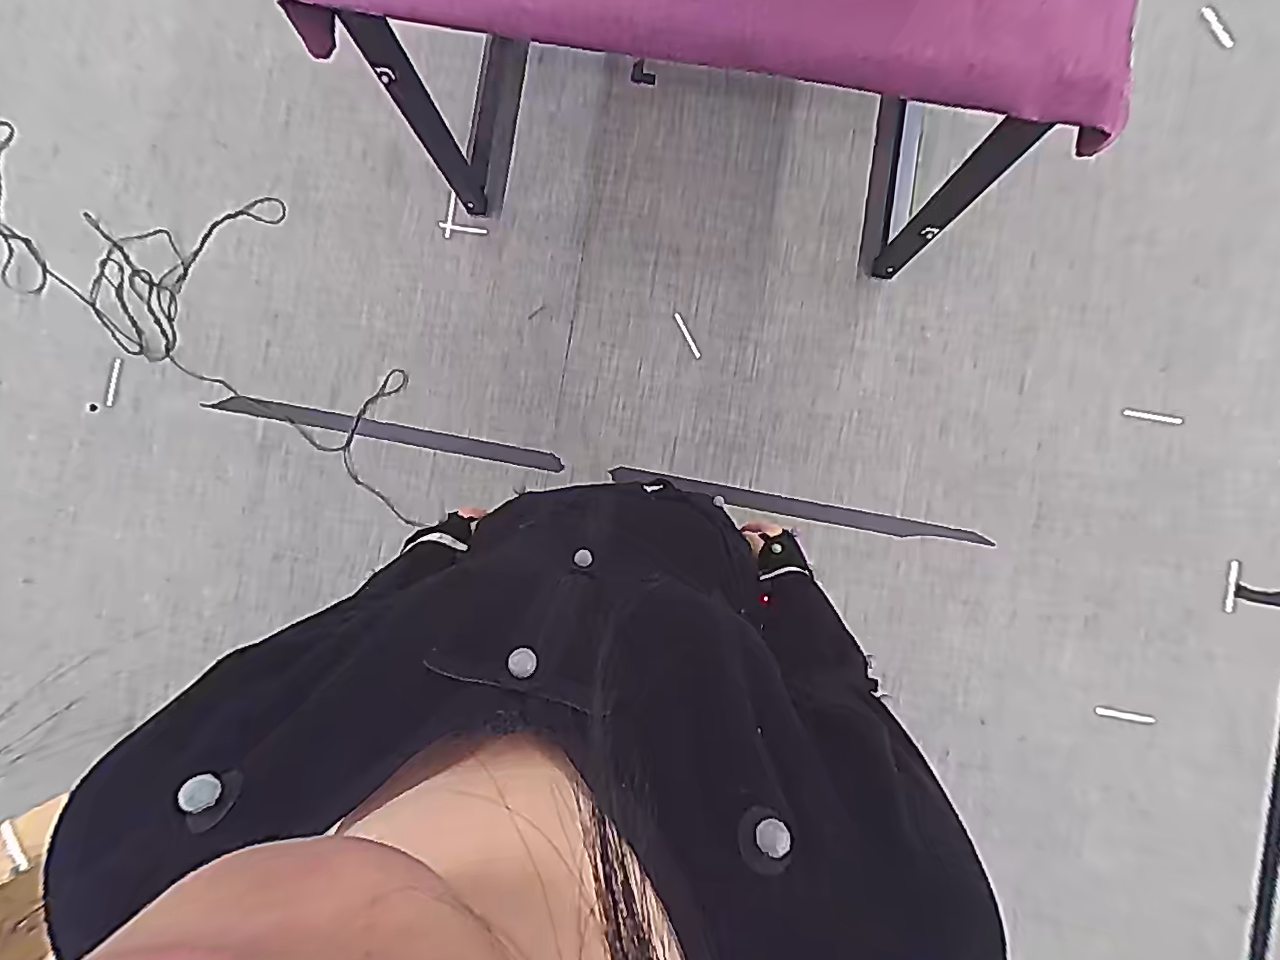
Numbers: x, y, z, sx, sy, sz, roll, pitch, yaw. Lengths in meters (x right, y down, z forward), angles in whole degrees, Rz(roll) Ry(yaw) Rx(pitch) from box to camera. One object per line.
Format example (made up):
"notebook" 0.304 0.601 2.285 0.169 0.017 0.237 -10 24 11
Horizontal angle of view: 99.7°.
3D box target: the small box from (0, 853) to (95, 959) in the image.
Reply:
"small box" -1.300 0.929 1.113 0.168 0.176 0.179 -31 86 -1
